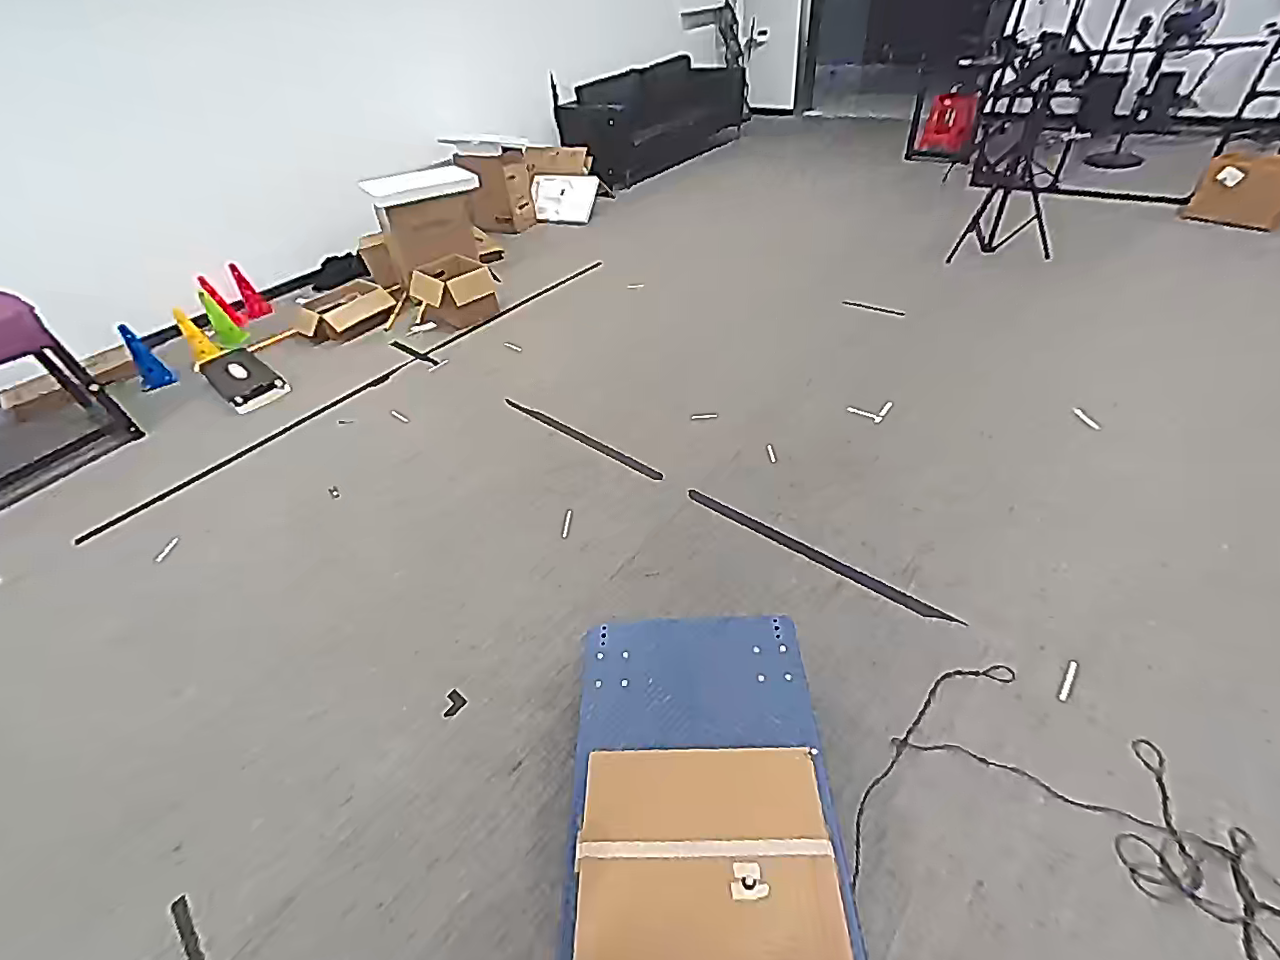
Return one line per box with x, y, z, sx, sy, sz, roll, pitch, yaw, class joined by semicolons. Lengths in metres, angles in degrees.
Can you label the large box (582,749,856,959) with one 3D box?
0.121;0.714;0.979;0.408;0.320;0.320;-3;43;3;large box
